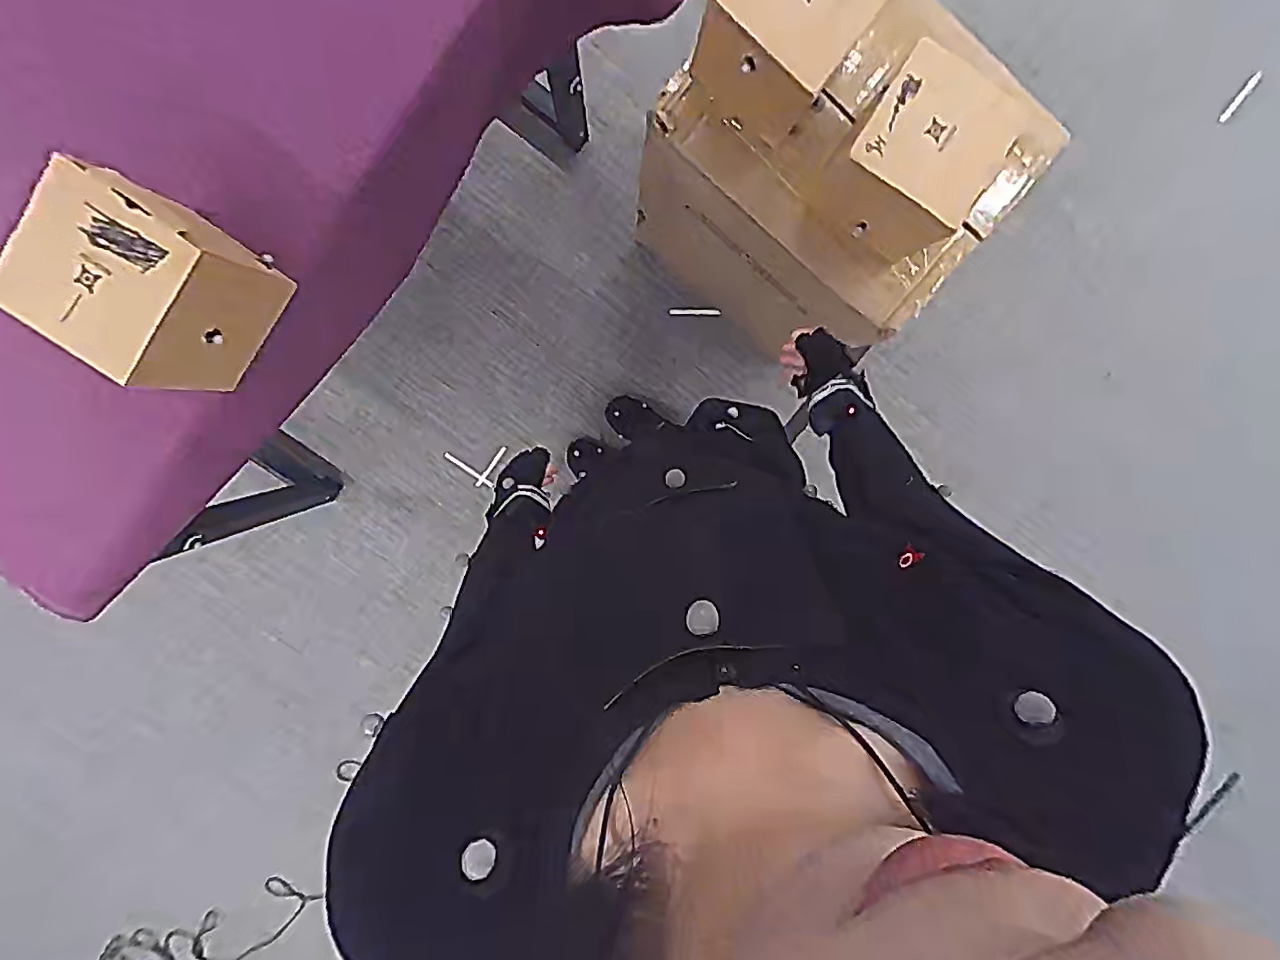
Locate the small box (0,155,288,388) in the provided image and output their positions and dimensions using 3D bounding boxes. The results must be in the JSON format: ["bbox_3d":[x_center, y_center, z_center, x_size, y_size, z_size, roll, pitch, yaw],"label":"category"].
[{"bbox_3d":[-0.567,-0.227,0.642,0.168,0.176,0.179,35,96,-5],"label":"small box"}]

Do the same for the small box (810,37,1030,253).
[{"bbox_3d":[0.373,-0.443,0.755,0.179,0.176,0.168,31,96,-5],"label":"small box"}]
